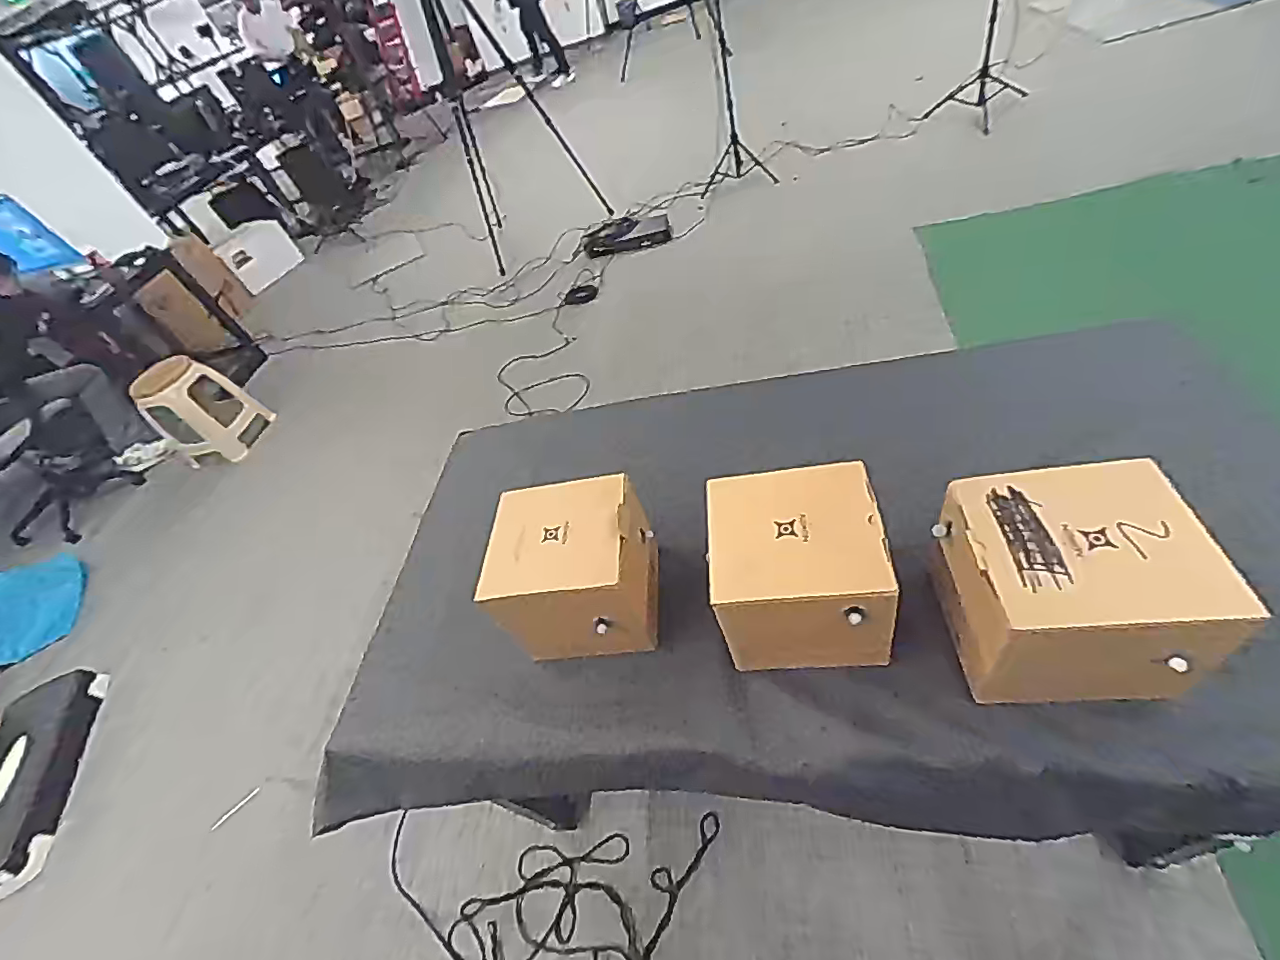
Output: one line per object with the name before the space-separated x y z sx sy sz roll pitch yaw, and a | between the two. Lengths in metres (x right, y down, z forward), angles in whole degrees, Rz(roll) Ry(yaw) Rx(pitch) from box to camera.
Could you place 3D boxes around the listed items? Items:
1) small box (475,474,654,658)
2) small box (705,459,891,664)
small box | -0.082 0.117 0.708 0.179 0.176 0.168 -9 46 13
small box | 0.177 0.101 0.625 0.179 0.176 0.168 -7 47 13
